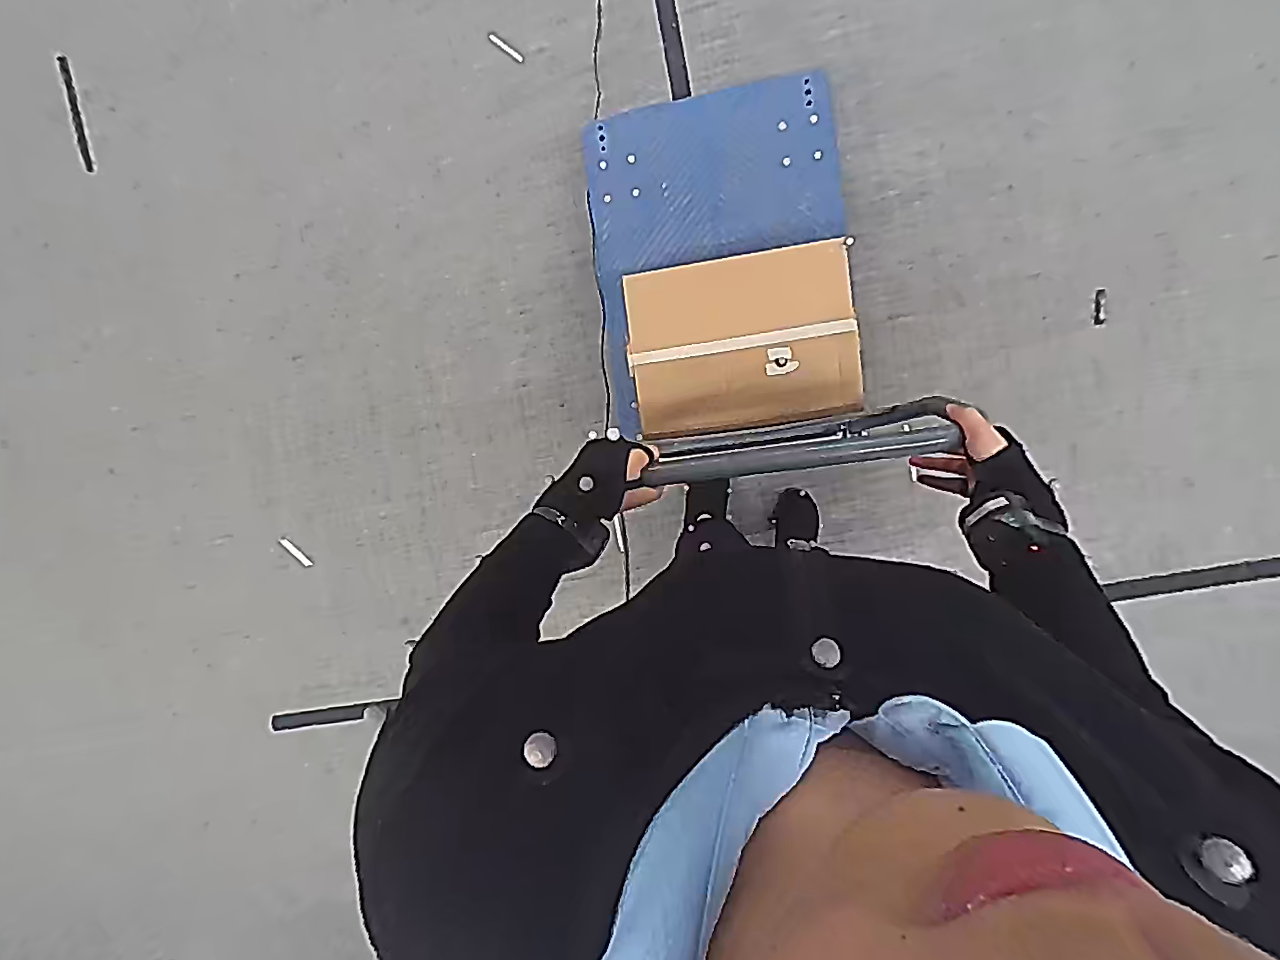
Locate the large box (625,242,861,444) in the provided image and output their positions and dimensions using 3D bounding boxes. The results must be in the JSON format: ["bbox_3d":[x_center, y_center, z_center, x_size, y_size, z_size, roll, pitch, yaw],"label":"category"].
[{"bbox_3d":[0.203,-0.256,1.143,0.408,0.320,0.320,-7,93,7],"label":"large box"}]
